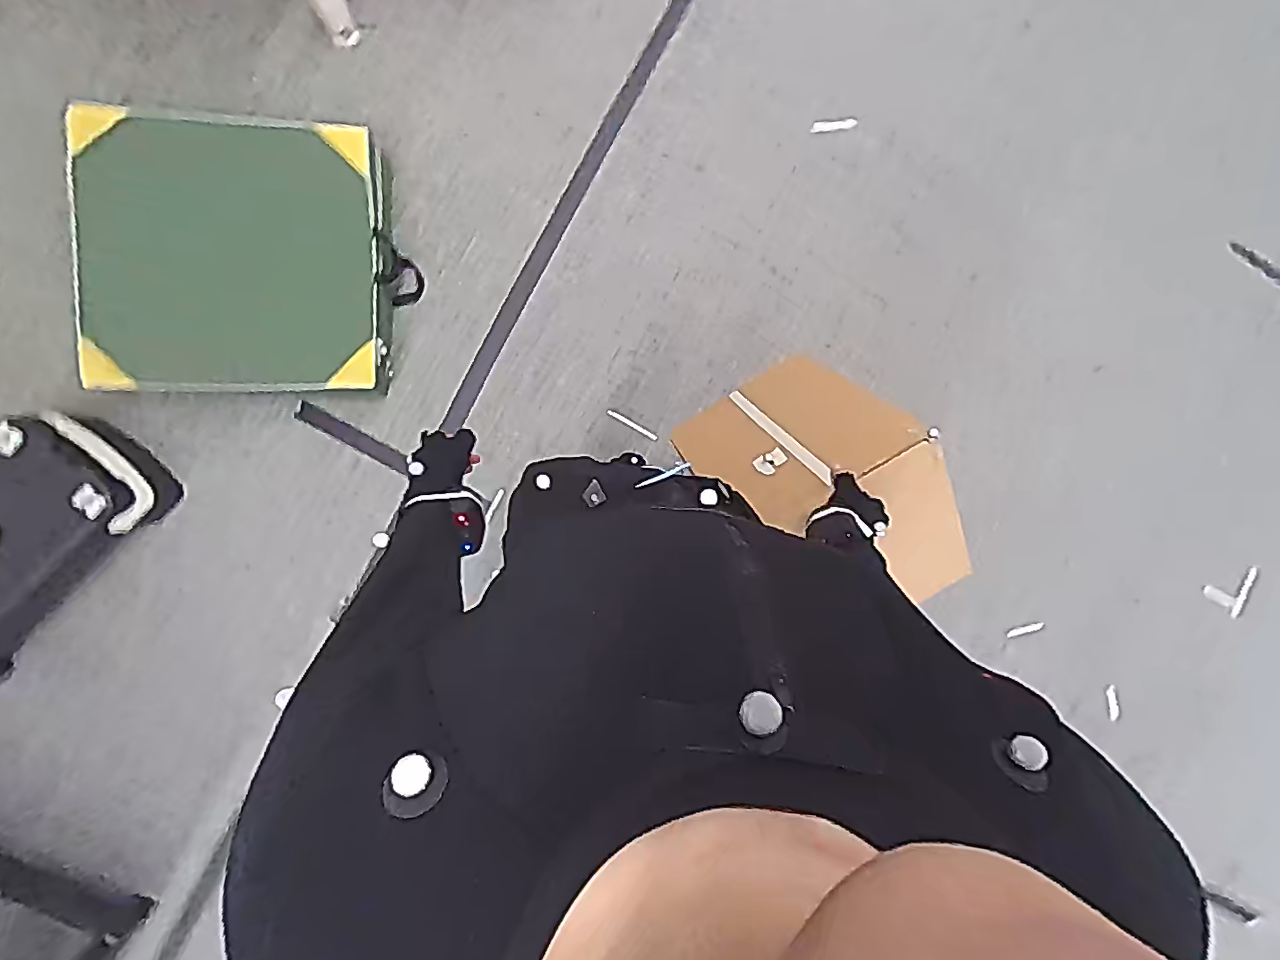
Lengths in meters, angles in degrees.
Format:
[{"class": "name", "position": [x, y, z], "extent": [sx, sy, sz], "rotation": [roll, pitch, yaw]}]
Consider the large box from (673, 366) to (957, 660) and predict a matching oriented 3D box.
[{"class": "large box", "position": [0.308, 0.042, 1.019], "extent": [0.320, 0.408, 0.320], "rotation": [-30, 122, 3]}]
